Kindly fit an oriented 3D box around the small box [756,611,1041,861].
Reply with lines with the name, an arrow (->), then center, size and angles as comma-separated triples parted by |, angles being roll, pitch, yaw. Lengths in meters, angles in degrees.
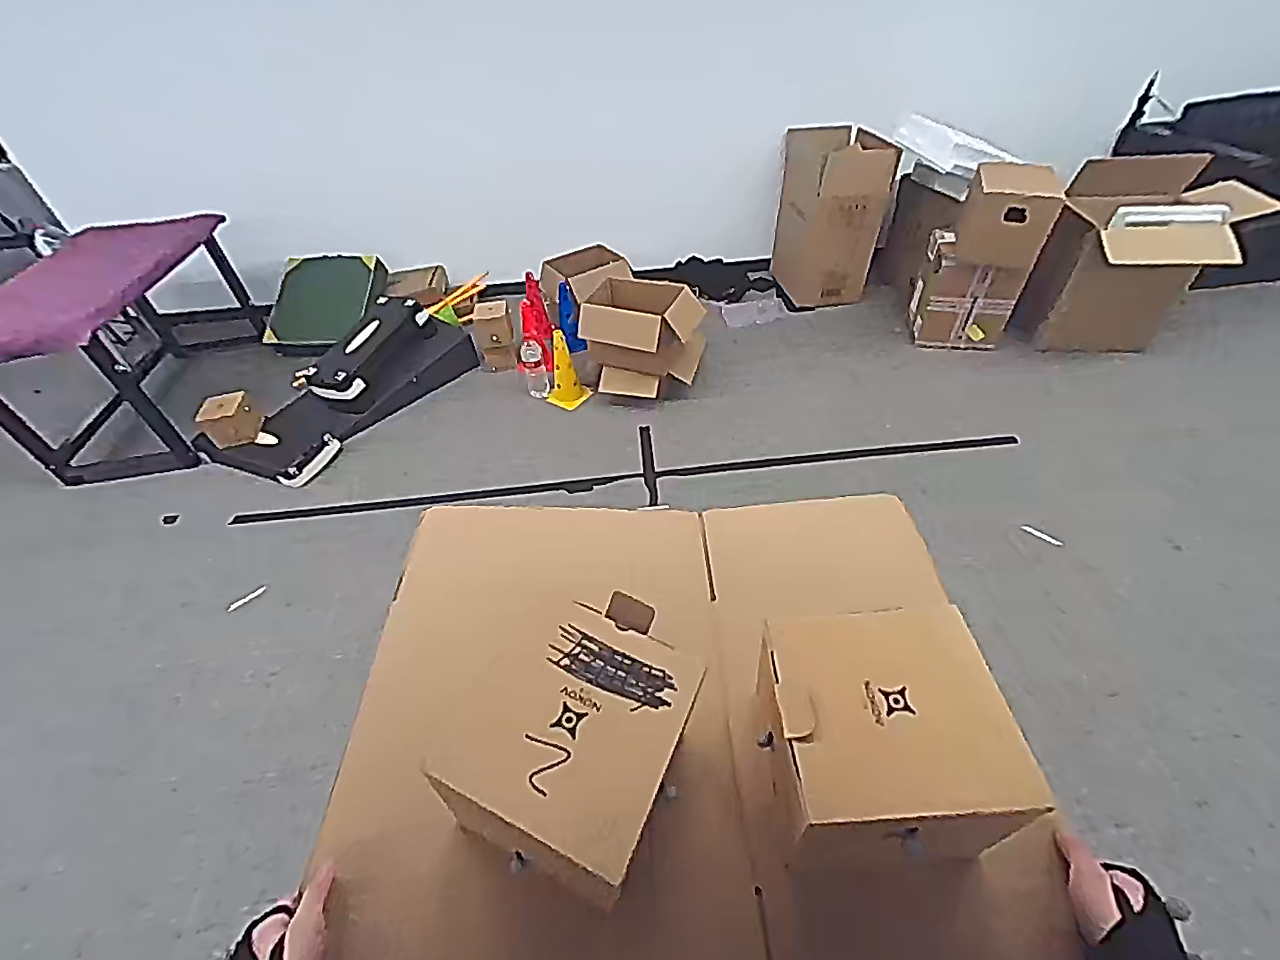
small box -> 0.213, 0.243, 0.508 | 0.179, 0.176, 0.168 | -6, 46, 3
